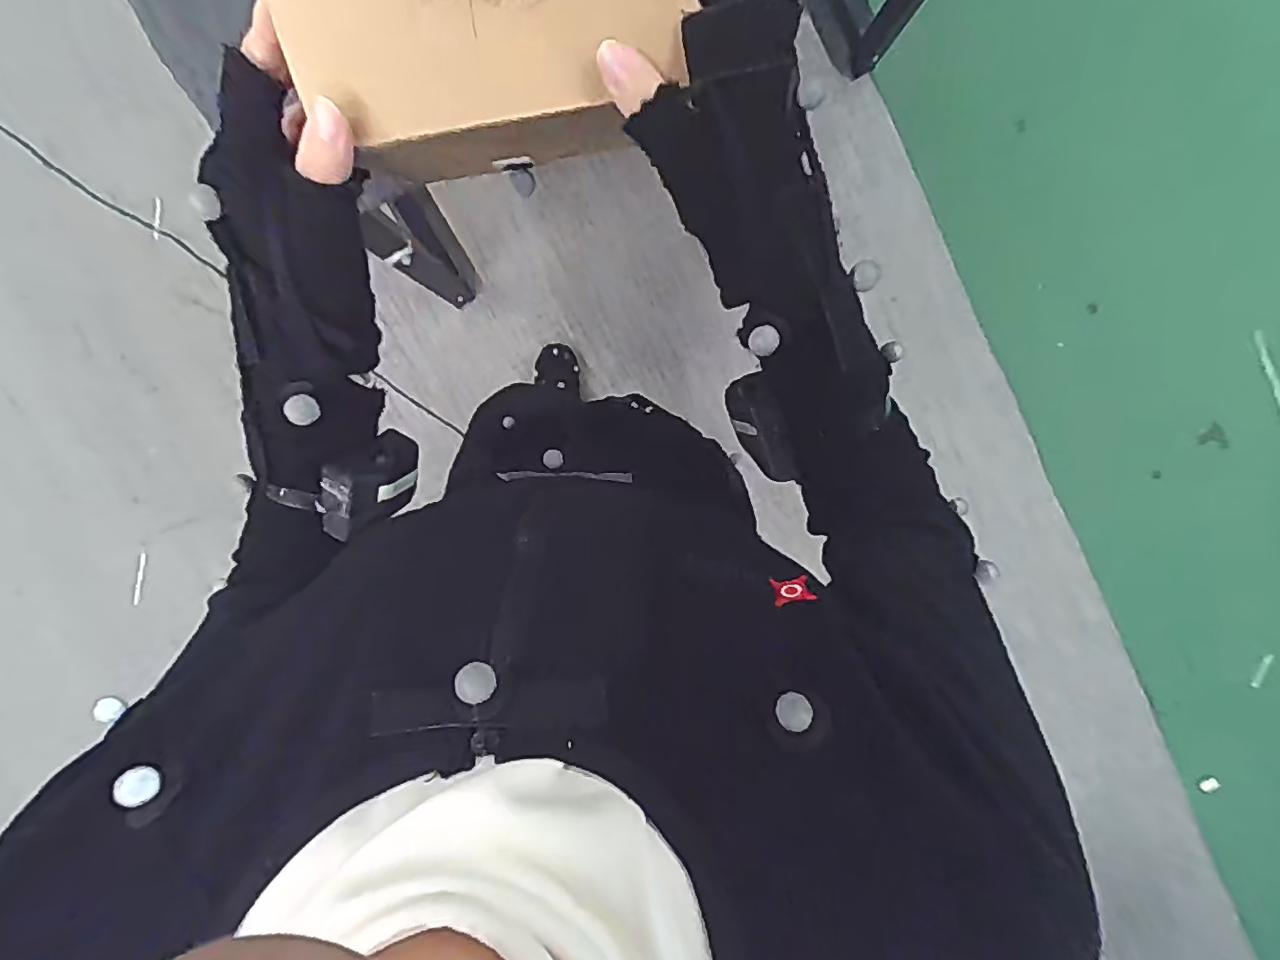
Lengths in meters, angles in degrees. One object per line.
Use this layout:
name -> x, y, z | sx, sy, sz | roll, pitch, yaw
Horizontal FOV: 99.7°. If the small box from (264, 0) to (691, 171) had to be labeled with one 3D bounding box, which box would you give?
small box -> -0.078, -0.270, 0.264 | 0.168, 0.176, 0.179 | -10, 115, -1
